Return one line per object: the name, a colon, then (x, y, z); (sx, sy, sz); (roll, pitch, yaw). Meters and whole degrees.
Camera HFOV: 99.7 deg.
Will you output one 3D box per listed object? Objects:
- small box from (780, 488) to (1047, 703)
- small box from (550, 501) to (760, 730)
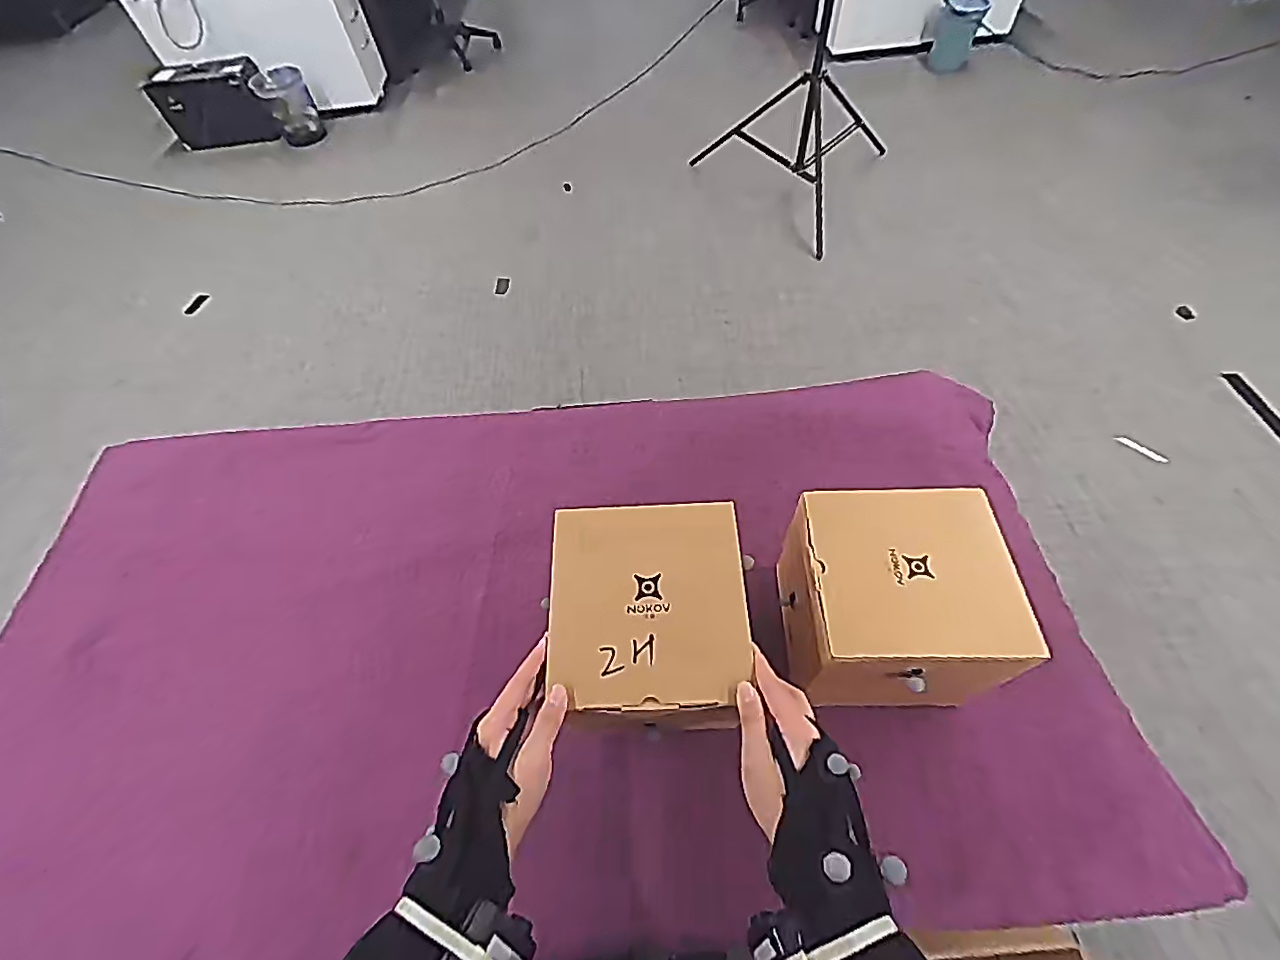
small box: (0.251, 0.122, 0.551); (0.179, 0.176, 0.168); (-2, 55, 4)
small box: (0.013, 0.137, 0.525); (0.168, 0.176, 0.179); (-3, 60, 2)
